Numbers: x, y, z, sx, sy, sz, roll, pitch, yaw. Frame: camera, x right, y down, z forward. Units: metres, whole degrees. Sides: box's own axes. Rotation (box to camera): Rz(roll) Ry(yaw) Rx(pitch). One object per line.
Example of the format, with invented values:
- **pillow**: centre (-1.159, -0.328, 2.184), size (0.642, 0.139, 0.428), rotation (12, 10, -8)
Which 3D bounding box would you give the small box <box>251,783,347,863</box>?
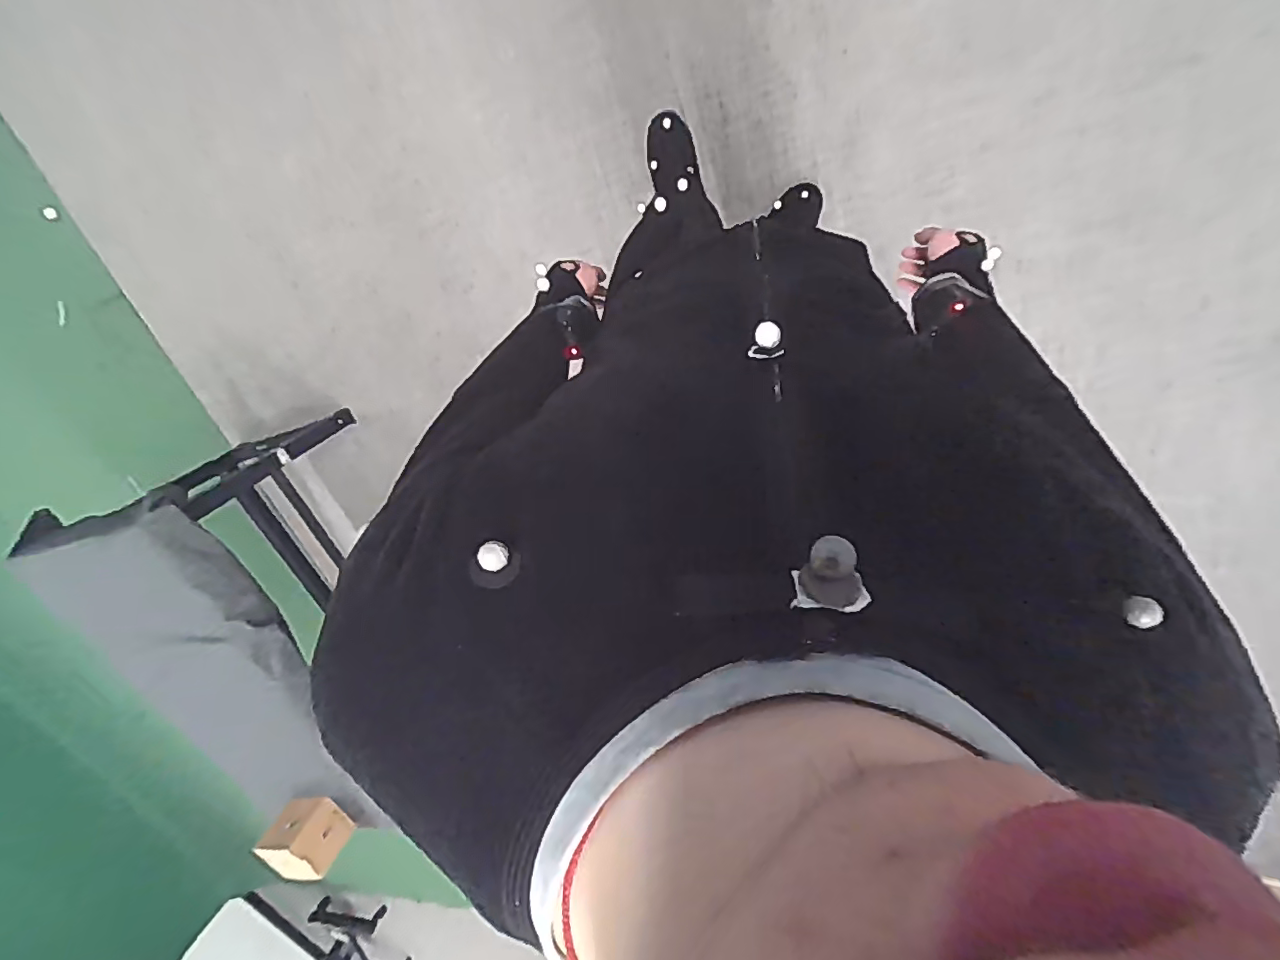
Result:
- **small box**: centre (-1.091, 1.108, 1.753), size (0.179, 0.176, 0.168), rotation (-15, 115, 21)
